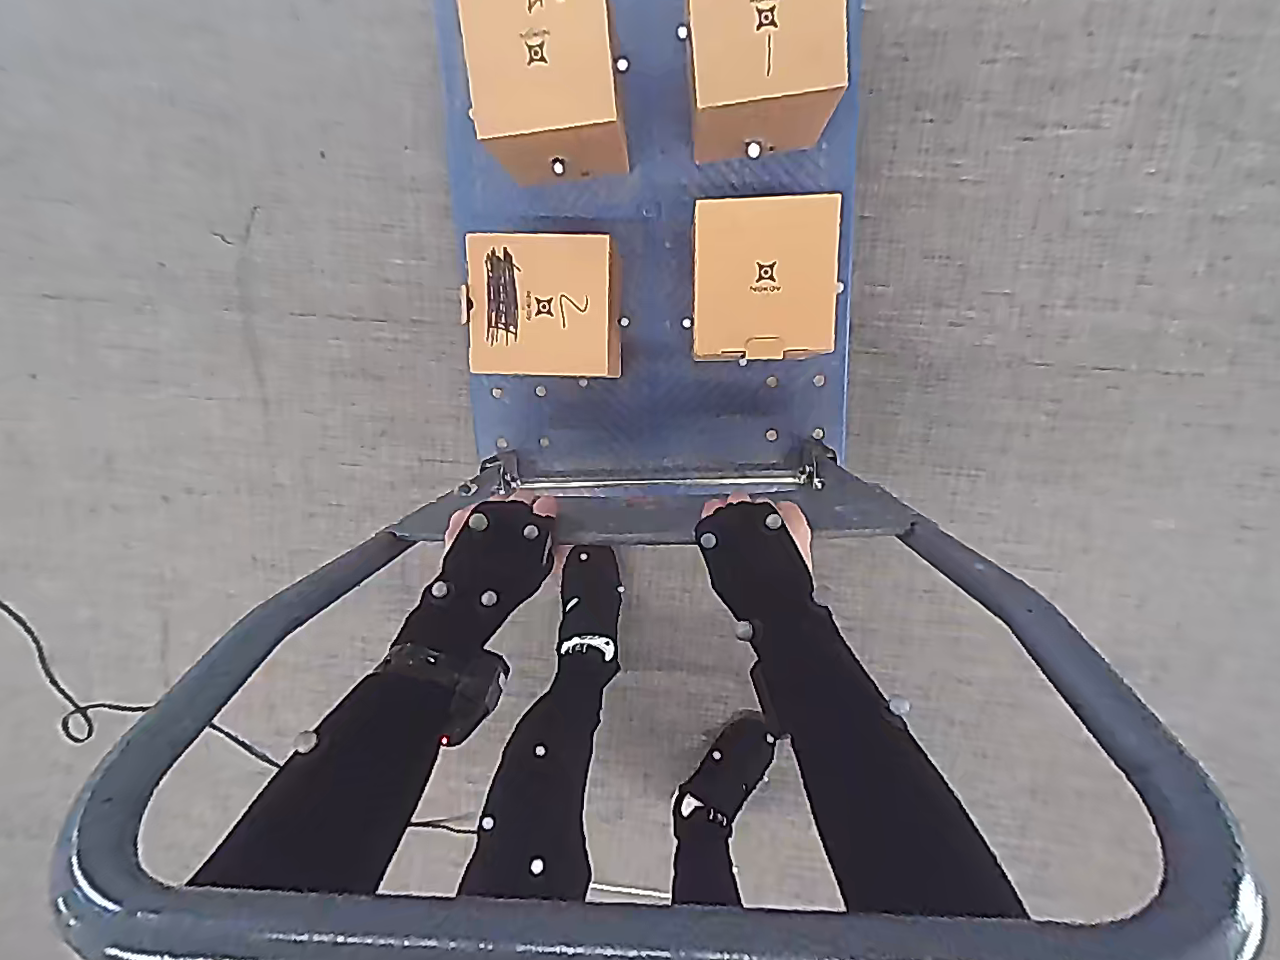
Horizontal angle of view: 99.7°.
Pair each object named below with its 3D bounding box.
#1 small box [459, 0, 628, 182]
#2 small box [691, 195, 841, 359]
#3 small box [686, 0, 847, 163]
[{"bbox_3d":[-0.109,-0.495,0.678,0.168,0.176,0.179,-4,100,5],"label":"small box"},{"bbox_3d":[0.152,-0.251,0.706,0.168,0.176,0.179,0,101,4],"label":"small box"},{"bbox_3d":[0.142,-0.517,0.655,0.168,0.176,0.179,-4,101,6],"label":"small box"}]
